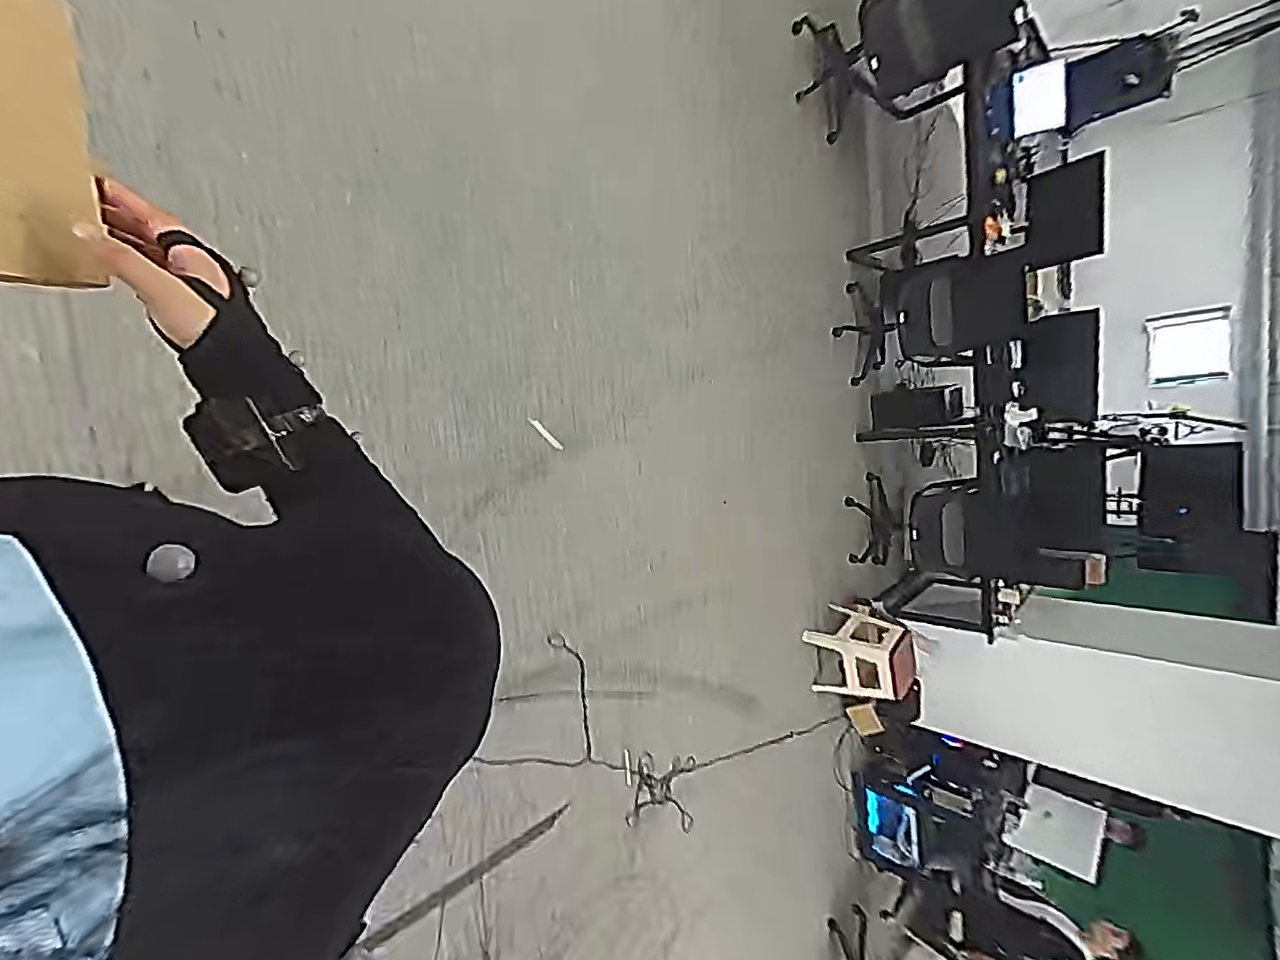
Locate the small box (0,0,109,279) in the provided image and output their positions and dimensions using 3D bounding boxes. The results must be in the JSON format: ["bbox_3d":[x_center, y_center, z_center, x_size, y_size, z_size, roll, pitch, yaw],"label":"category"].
[{"bbox_3d":[-0.462,-0.228,0.335,0.168,0.176,0.179,-12,111,-49],"label":"small box"}]
